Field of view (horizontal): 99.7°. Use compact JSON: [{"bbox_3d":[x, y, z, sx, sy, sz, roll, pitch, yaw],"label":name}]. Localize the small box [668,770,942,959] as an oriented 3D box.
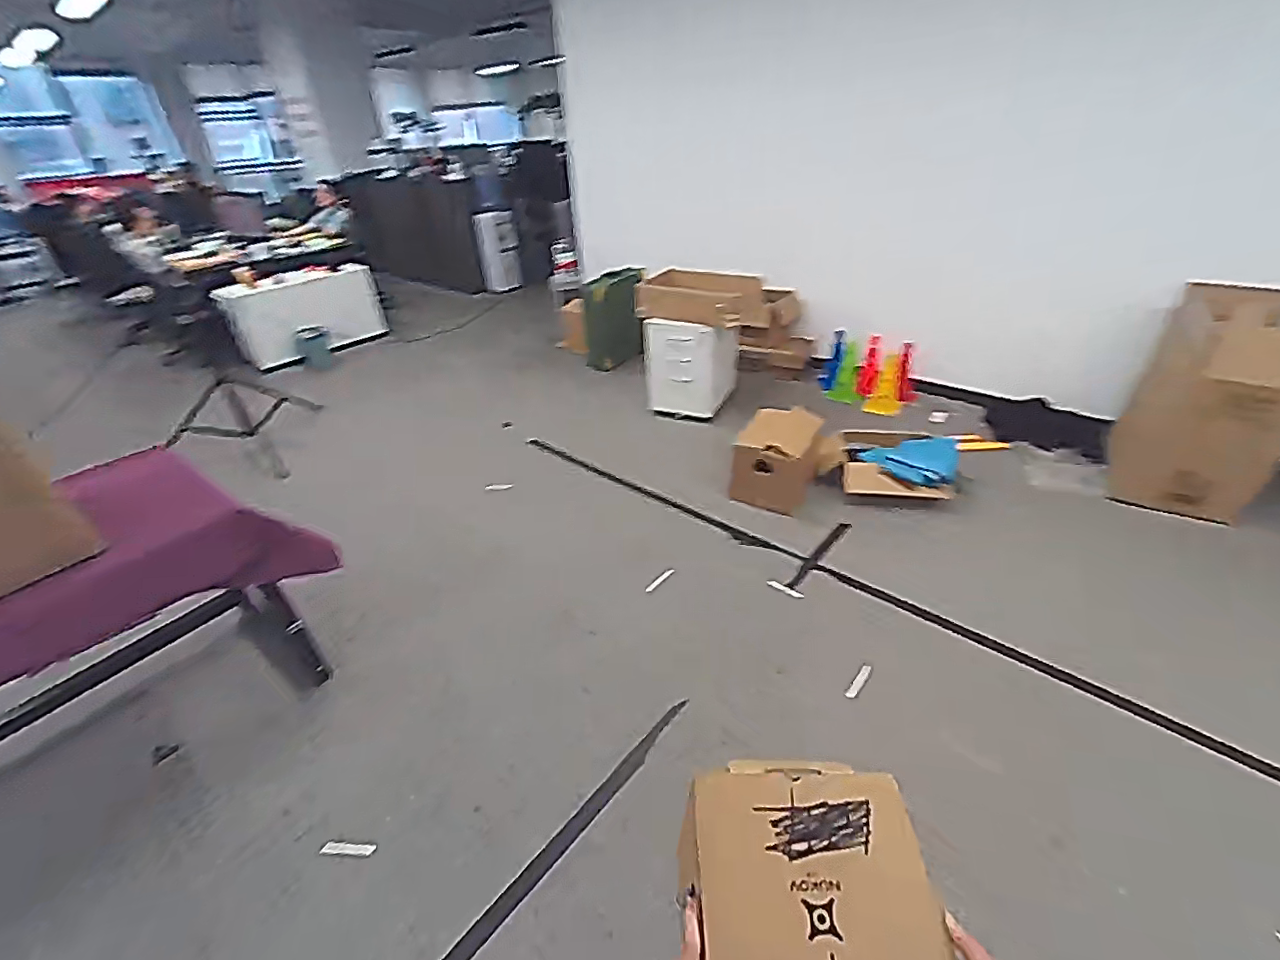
[{"bbox_3d":[0.113,0.355,0.426,0.168,0.176,0.179,1,40,-2],"label":"small box"}]
